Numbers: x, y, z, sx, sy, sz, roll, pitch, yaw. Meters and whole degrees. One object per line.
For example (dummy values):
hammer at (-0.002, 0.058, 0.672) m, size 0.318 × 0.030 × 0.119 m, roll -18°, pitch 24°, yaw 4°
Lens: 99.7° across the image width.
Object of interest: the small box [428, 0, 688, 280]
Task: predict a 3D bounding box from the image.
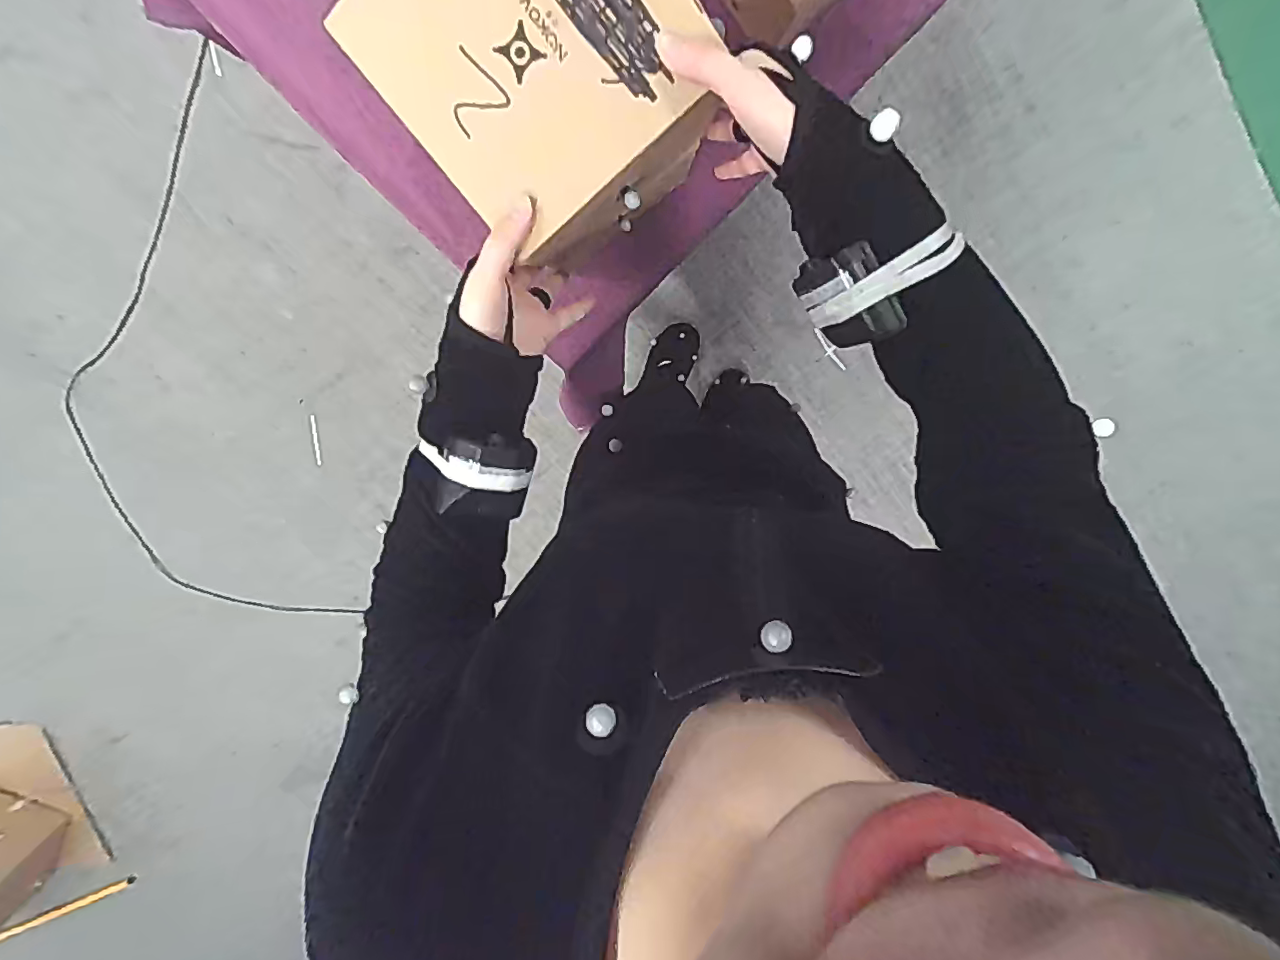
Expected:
small box at (-0.070, -0.321, 0.550) m, size 0.179 × 0.176 × 0.168 m, roll -35°, pitch 106°, yaw 11°

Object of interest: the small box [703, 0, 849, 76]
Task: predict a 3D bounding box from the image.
small box at (0.143, -0.520, 0.479) m, size 0.179 × 0.176 × 0.168 m, roll -39°, pitch 104°, yaw 13°
